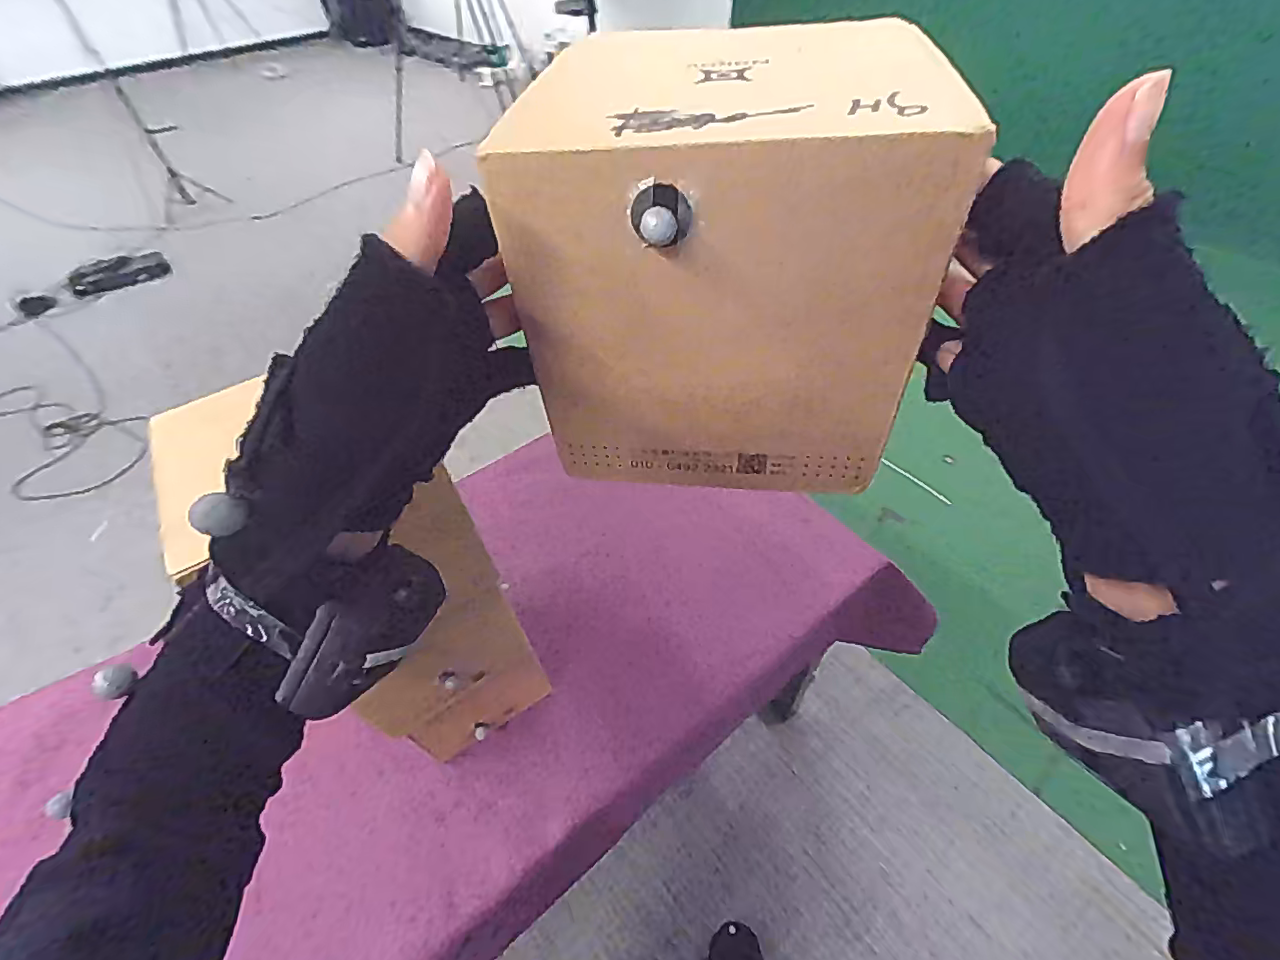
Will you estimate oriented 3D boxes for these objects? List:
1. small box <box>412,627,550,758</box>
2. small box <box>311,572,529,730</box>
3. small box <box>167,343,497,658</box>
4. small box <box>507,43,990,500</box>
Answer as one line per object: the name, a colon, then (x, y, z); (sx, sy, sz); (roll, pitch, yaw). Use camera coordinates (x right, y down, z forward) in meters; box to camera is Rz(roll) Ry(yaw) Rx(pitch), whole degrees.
small box: (-0.237, 0.225, 0.709); (0.168, 0.176, 0.179); (-28, 53, -19)
small box: (-0.241, 0.128, 0.577); (0.168, 0.176, 0.179); (-30, 53, -20)
small box: (-0.241, 0.022, 0.451); (0.168, 0.176, 0.179); (-29, 52, -20)
small box: (0.051, -0.113, 0.295); (0.168, 0.176, 0.179); (4, 48, 11)
